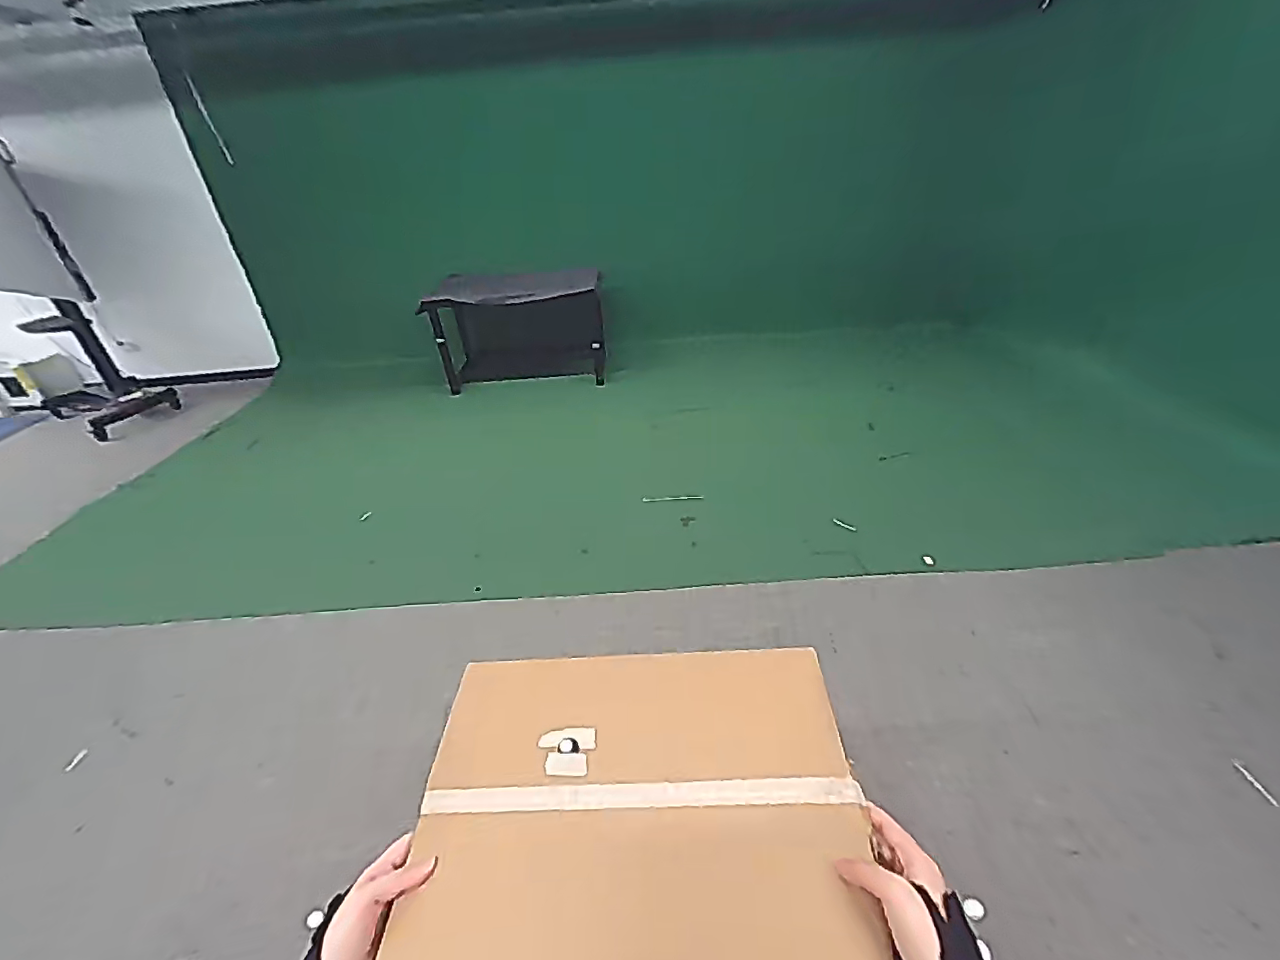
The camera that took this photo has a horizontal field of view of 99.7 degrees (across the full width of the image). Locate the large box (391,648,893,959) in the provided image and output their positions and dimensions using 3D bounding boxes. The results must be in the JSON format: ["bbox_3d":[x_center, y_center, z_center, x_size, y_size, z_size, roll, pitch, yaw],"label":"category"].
[{"bbox_3d":[0.015,0.421,0.603,0.408,0.320,0.320,-6,37,6],"label":"large box"}]
